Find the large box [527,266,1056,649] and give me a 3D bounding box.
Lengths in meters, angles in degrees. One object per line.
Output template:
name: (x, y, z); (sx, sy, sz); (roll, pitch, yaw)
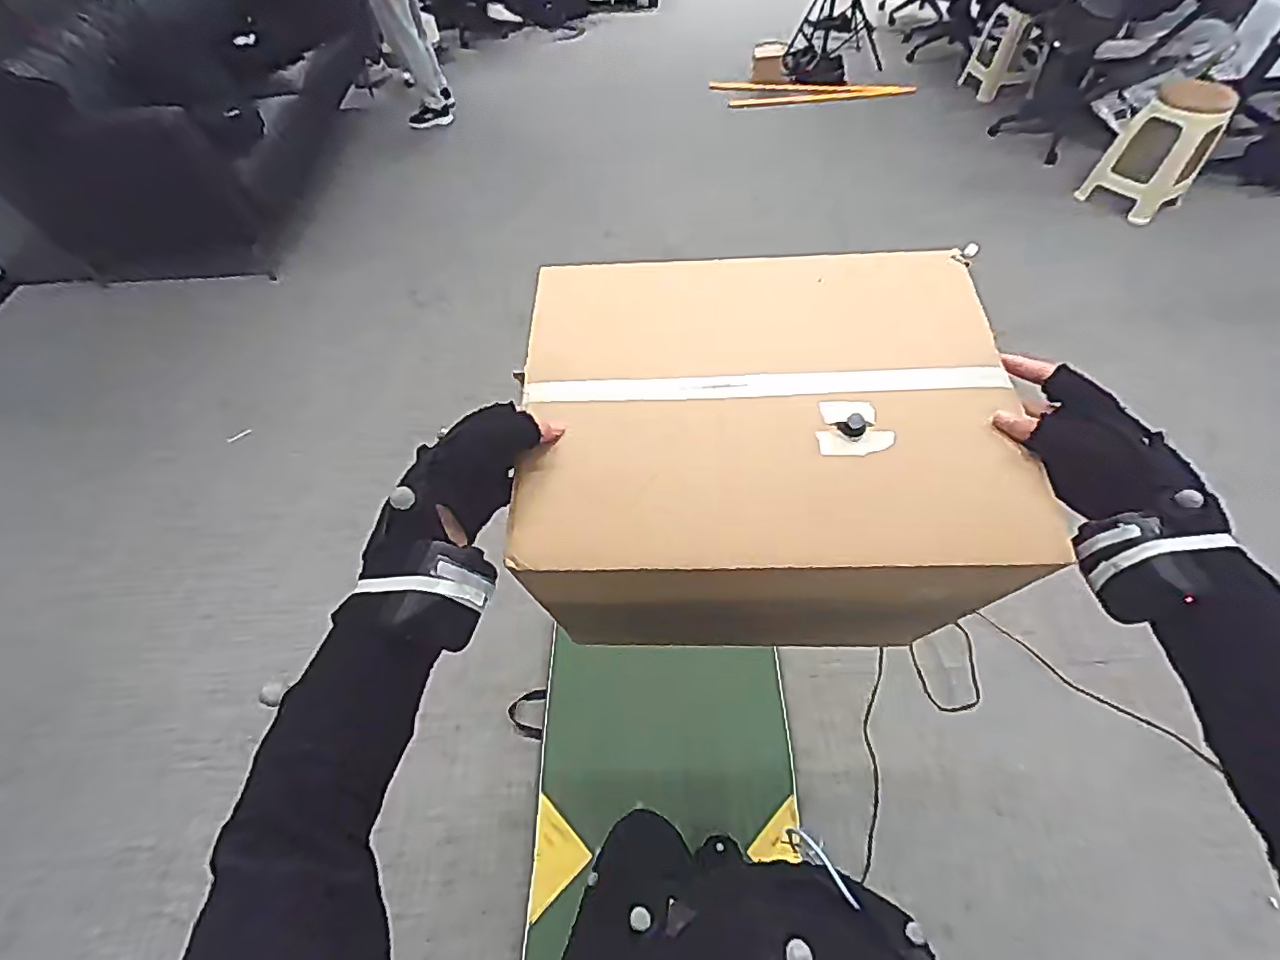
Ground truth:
large box: (0.114, -0.002, 0.603); (0.408, 0.320, 0.320); (-1, 63, 2)
